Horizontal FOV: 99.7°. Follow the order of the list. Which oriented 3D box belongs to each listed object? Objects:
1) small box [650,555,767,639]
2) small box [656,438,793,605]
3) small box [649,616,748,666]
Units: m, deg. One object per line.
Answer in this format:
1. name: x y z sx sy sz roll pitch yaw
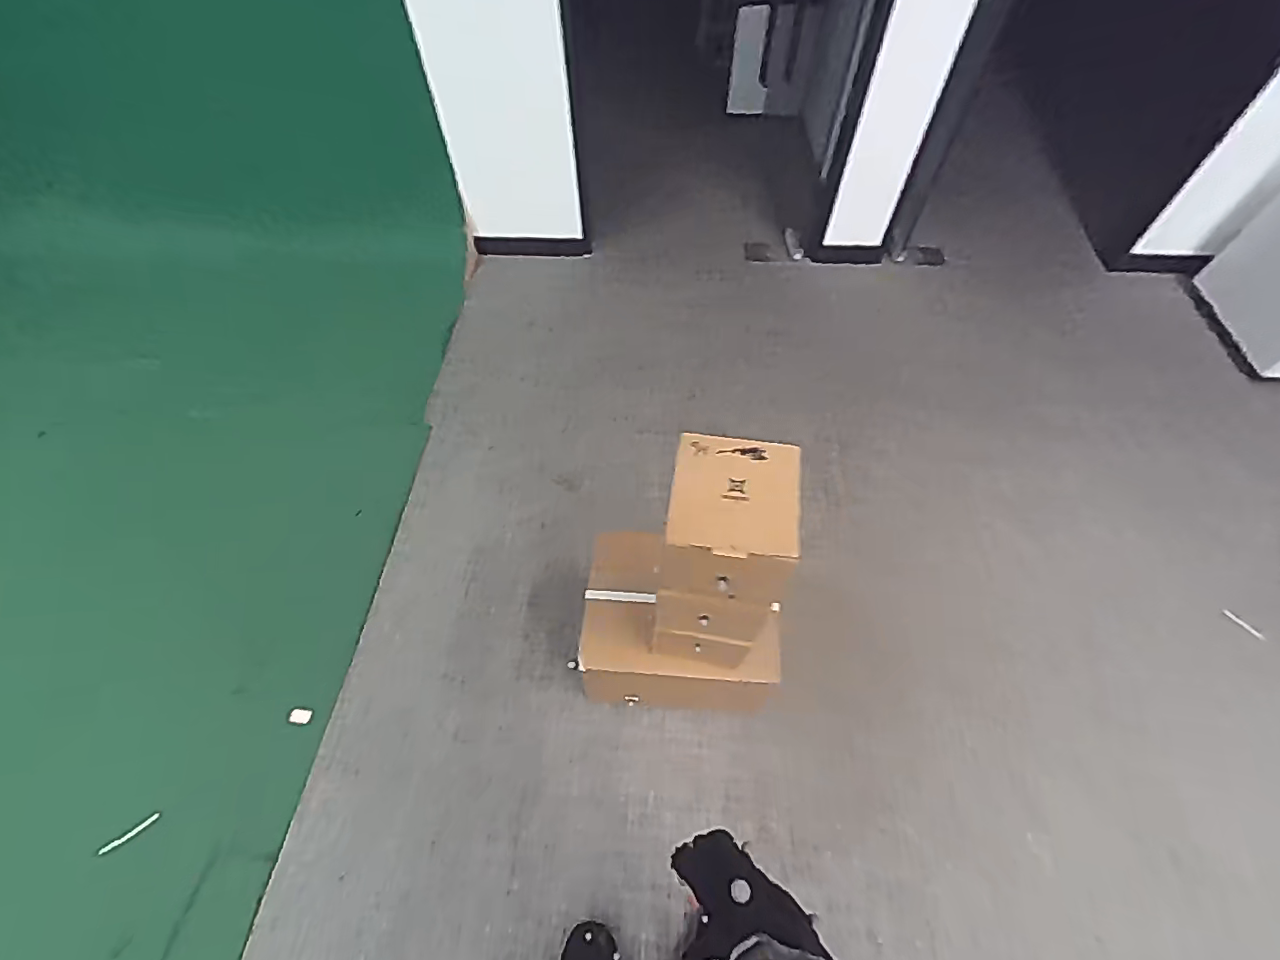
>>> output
1. small box: 0.115 0.159 0.910 0.179 0.176 0.168 7 59 6
2. small box: 0.118 0.065 0.777 0.168 0.176 0.179 8 59 6
3. small box: 0.114 0.249 1.047 0.179 0.176 0.168 9 59 5
